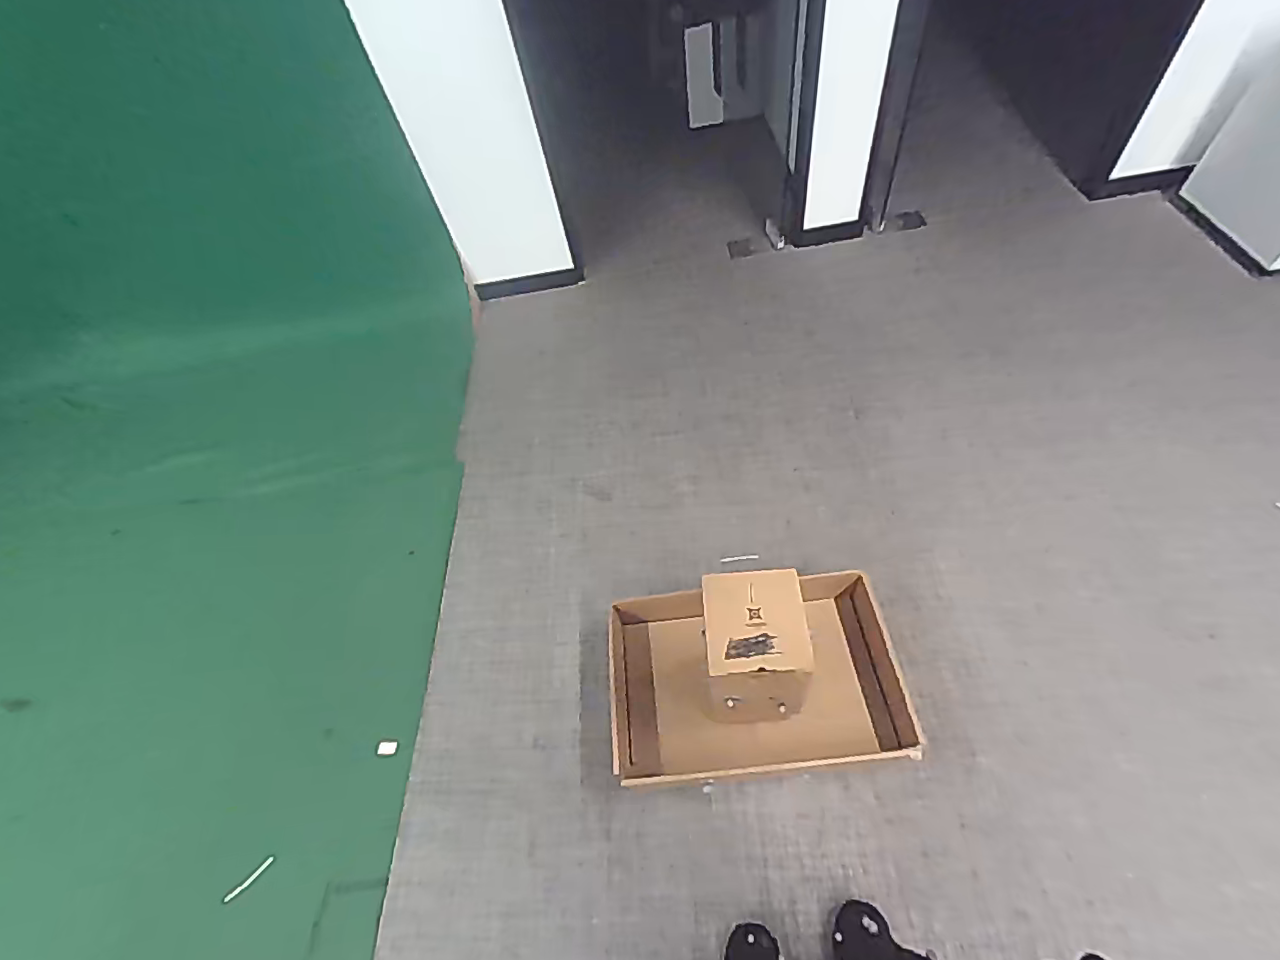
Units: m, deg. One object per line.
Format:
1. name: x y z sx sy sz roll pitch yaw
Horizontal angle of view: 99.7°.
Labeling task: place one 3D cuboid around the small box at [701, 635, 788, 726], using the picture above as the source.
1. small box: 0.243 0.450 1.236 0.179 0.176 0.168 -9 52 3

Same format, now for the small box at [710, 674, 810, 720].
1. small box: 0.222 0.367 1.075 0.179 0.176 0.168 -8 53 4

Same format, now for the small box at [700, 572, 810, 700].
1. small box: 0.196 0.282 0.955 0.168 0.176 0.179 -5 52 6
